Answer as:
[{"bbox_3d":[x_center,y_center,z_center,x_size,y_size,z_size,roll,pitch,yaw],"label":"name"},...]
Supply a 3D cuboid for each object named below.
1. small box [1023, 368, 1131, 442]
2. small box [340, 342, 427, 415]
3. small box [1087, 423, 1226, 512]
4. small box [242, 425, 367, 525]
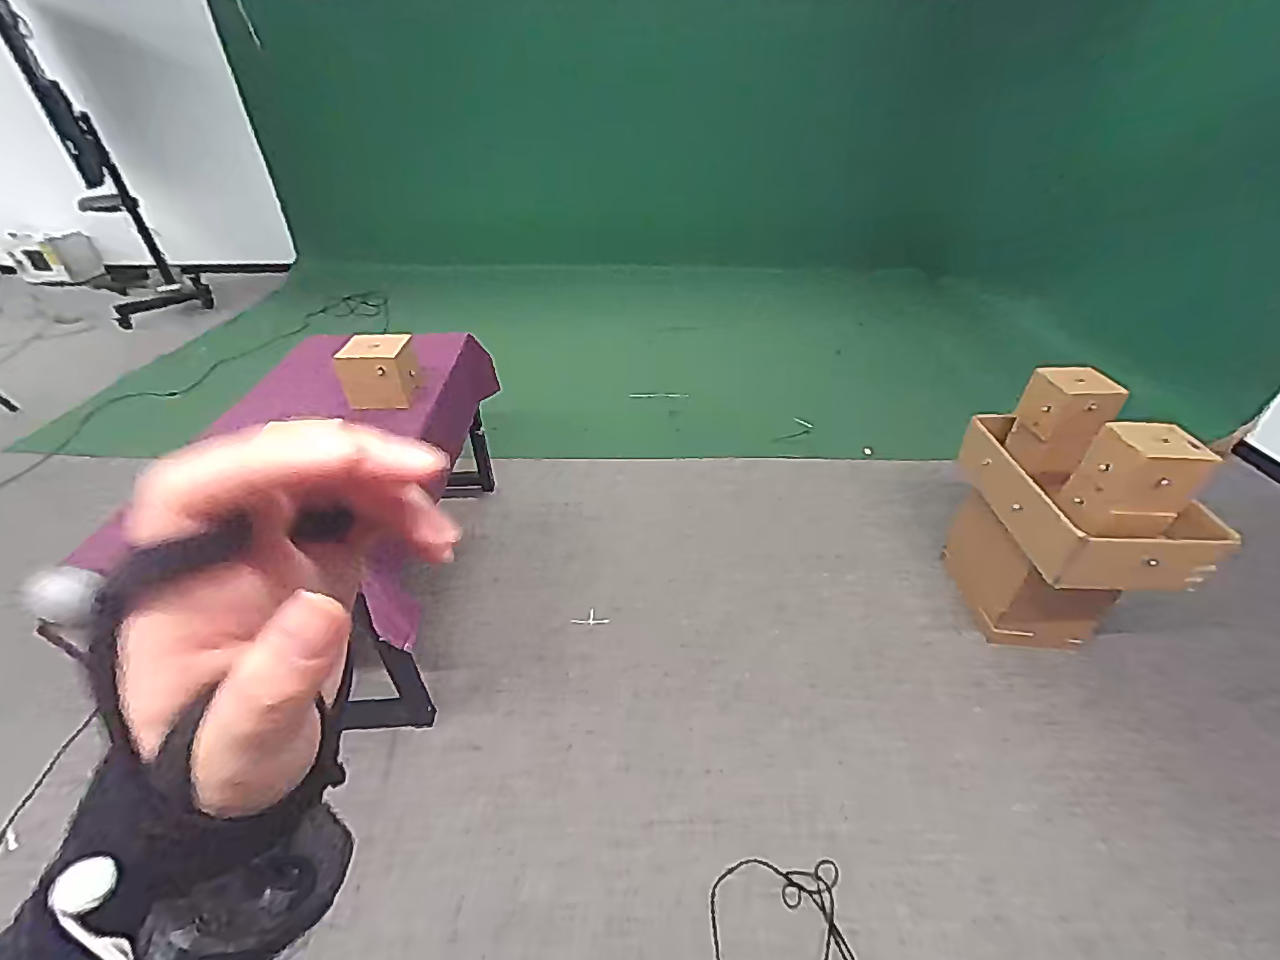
[{"bbox_3d":[1.312,-0.227,1.644,0.179,0.176,0.168,-1,37,-1],"label":"small box"},{"bbox_3d":[-0.772,-0.309,1.653,0.179,0.176,0.168,-2,36,0],"label":"small box"},{"bbox_3d":[1.299,-0.033,1.383,0.179,0.176,0.168,1,37,4],"label":"small box"},{"bbox_3d":[-0.759,-0.008,1.250,0.168,0.176,0.179,-4,36,-3],"label":"small box"}]
